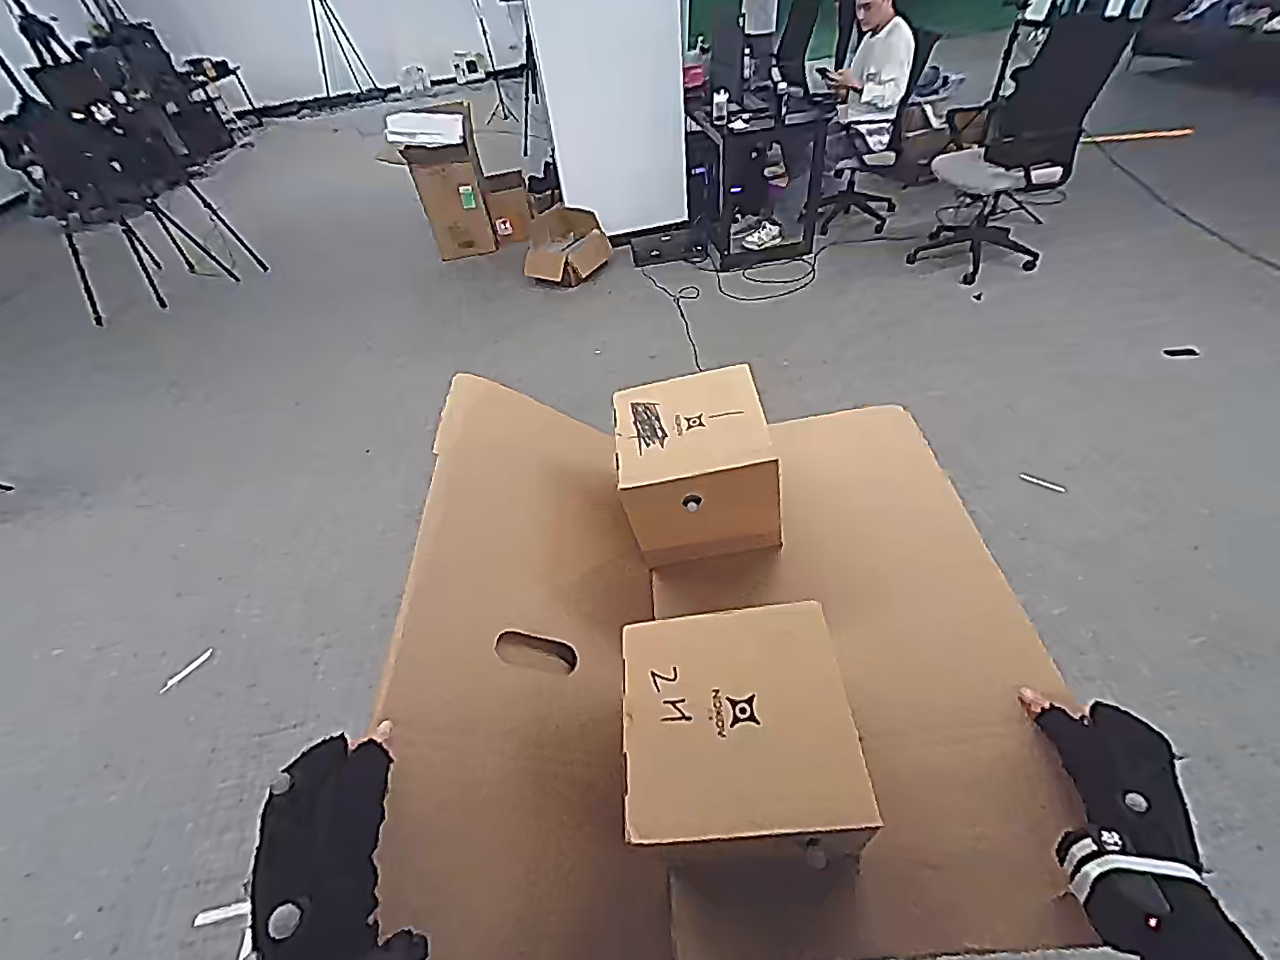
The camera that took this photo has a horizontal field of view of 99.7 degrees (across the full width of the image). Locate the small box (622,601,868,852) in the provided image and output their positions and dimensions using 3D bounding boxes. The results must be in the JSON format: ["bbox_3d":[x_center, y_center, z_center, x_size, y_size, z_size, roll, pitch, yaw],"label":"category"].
[{"bbox_3d":[0.088,0.230,0.493,0.179,0.176,0.168,-10,49,9],"label":"small box"}]

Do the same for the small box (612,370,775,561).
[{"bbox_3d":[0.070,-0.012,0.701,0.179,0.176,0.168,-11,49,7],"label":"small box"}]
